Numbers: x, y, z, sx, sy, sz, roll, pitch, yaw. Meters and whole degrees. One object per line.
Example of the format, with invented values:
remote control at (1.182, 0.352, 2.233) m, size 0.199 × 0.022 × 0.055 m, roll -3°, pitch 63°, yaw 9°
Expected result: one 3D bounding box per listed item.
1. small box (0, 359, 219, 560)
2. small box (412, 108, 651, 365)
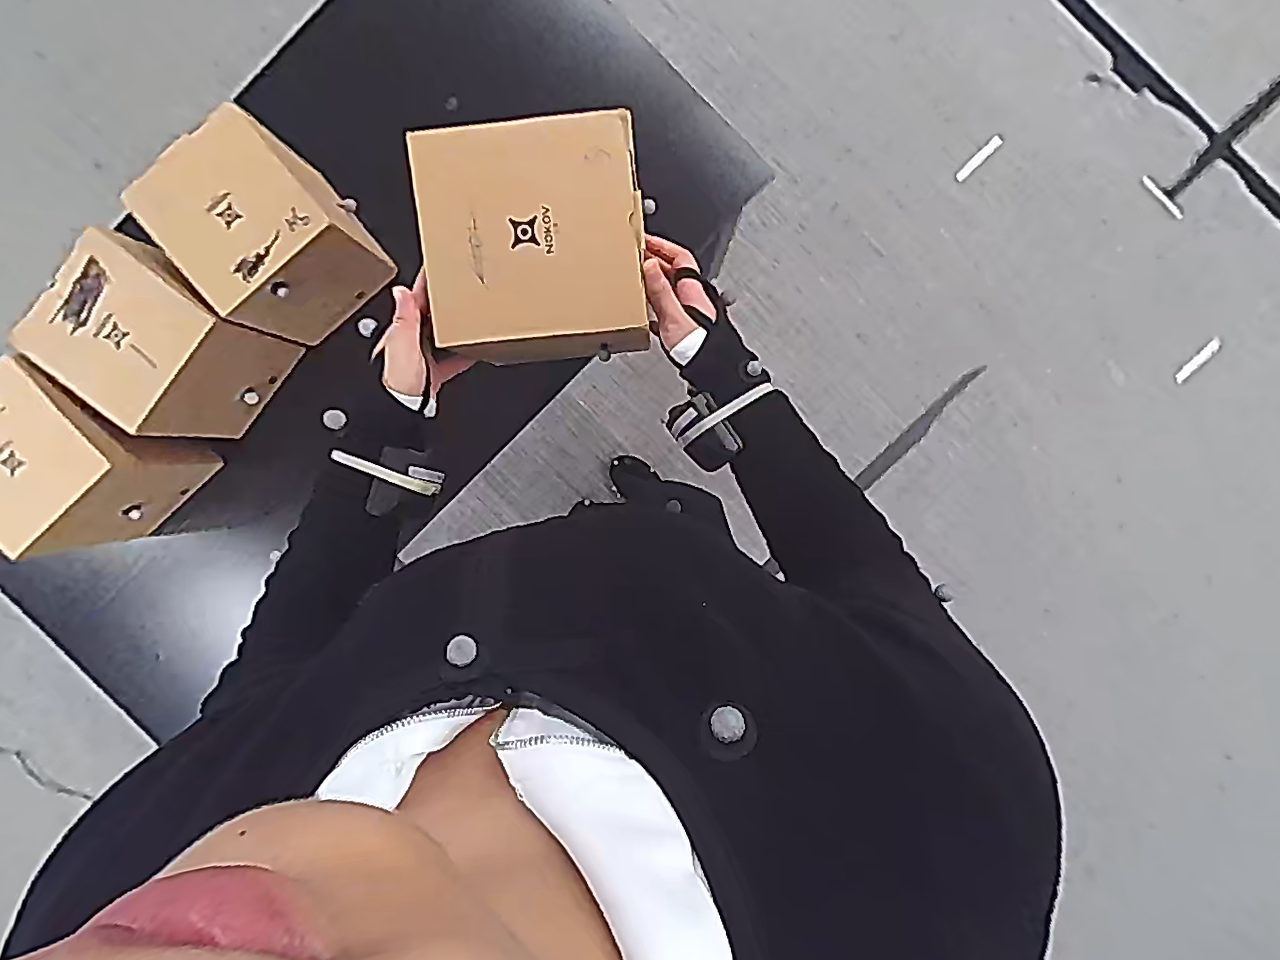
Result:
small box at (-0.709, -0.027, 0.695) m, size 0.168 × 0.176 × 0.179 m, roll -42°, pitch 90°, yaw 2°
small box at (-0.082, -0.204, 0.502) m, size 0.179 × 0.176 × 0.168 m, roll -5°, pitch 95°, yaw 3°
